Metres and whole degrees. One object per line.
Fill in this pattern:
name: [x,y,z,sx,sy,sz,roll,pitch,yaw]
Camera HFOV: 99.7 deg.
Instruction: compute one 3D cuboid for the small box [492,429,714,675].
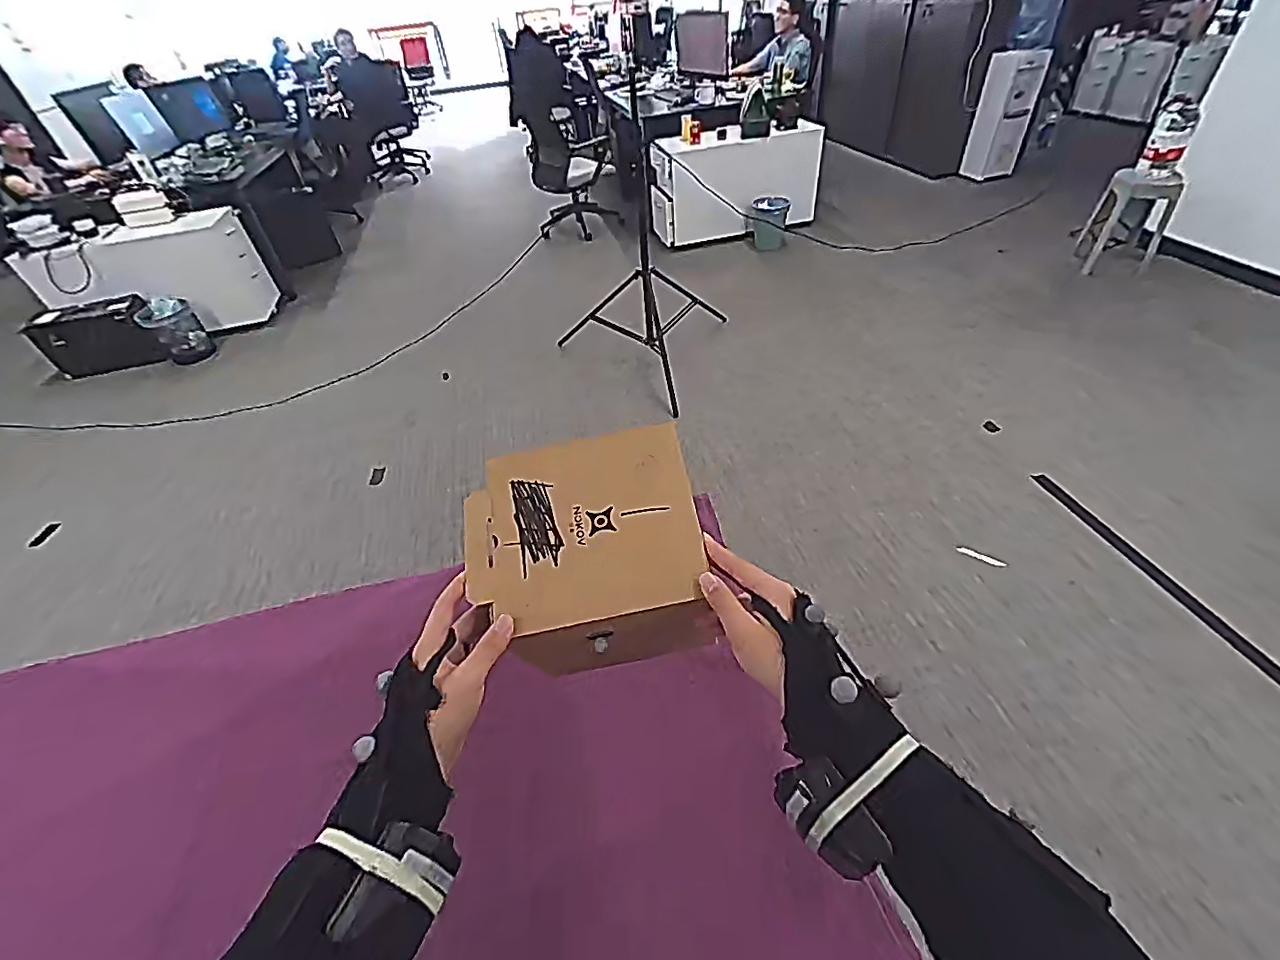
small box: [-0.029,0.078,0.522,0.179,0.176,0.168,-11,60,0]
